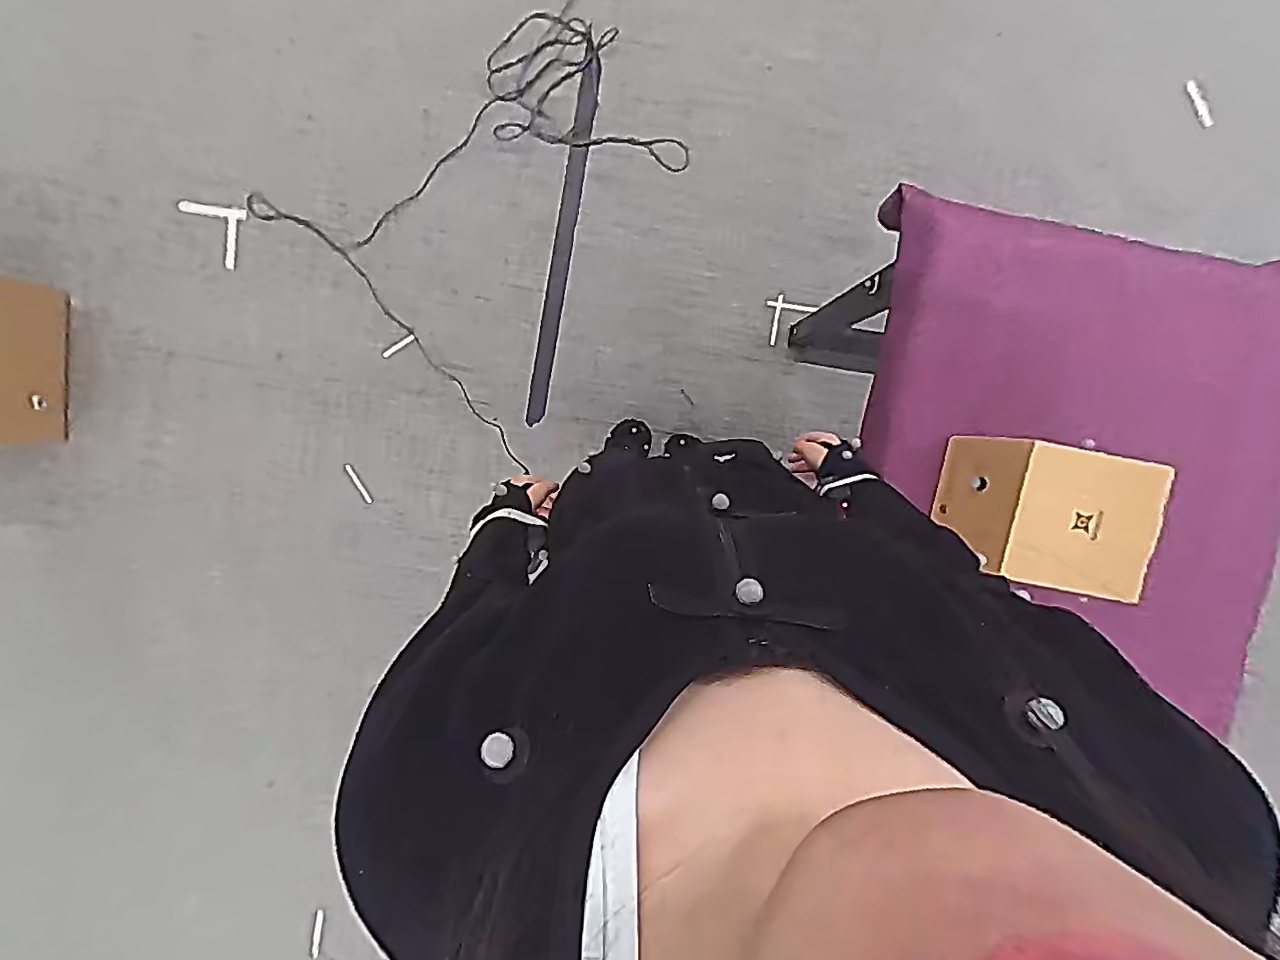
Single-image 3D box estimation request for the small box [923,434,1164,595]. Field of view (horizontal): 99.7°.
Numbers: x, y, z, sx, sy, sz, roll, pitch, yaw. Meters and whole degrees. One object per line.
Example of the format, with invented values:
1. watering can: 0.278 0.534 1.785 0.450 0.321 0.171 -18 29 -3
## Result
1. small box: 0.512 0.037 0.715 0.179 0.176 0.168 11 95 -4
